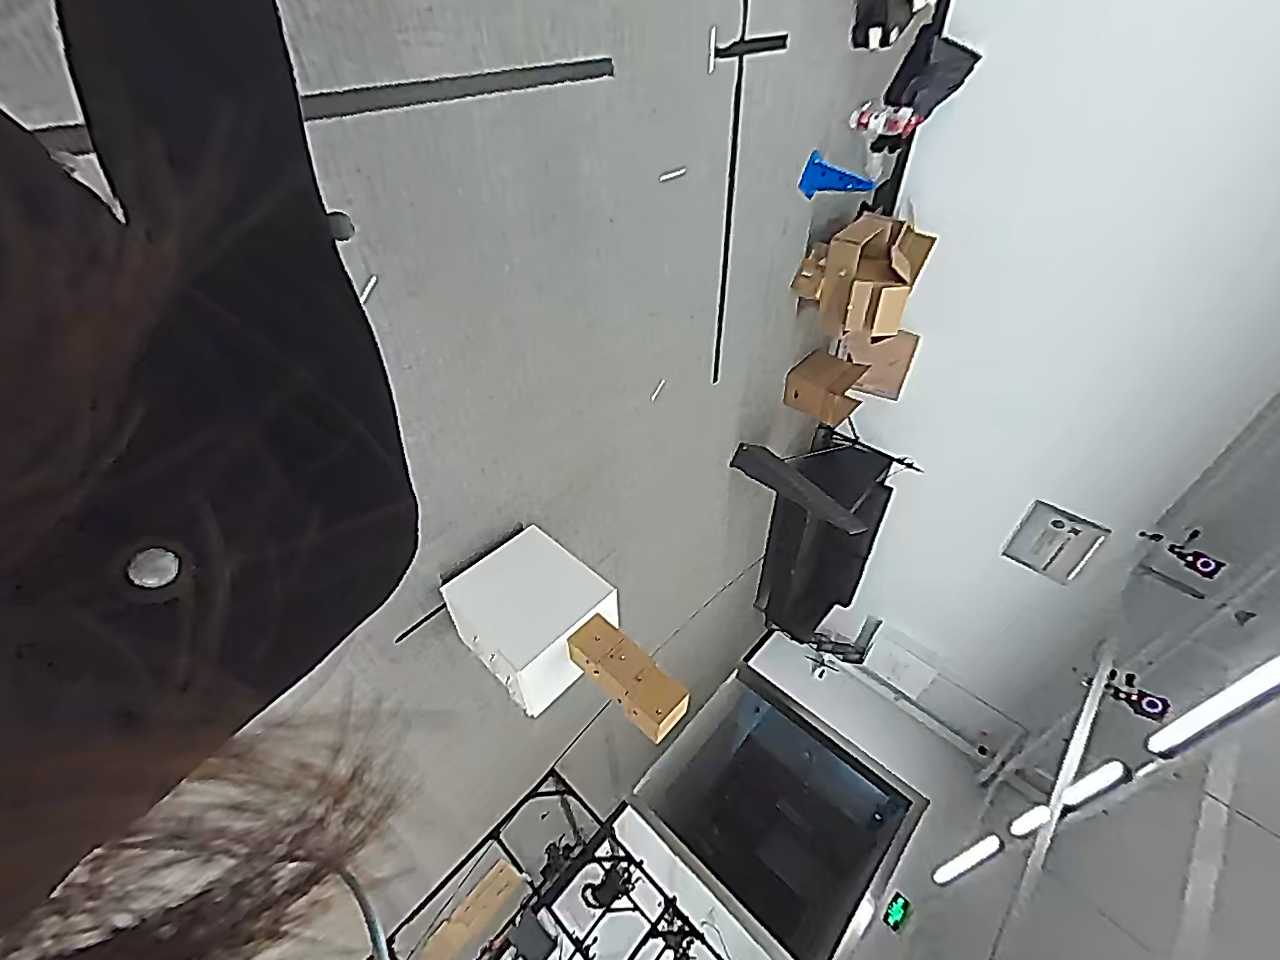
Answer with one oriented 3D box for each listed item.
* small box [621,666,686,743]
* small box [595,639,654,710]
[{"bbox_3d":[0.050,0.845,2.050,0.179,0.176,0.168,-35,144,-34],"label":"small box"},{"bbox_3d":[-0.064,0.767,2.137,0.168,0.176,0.179,-36,144,-35],"label":"small box"}]
